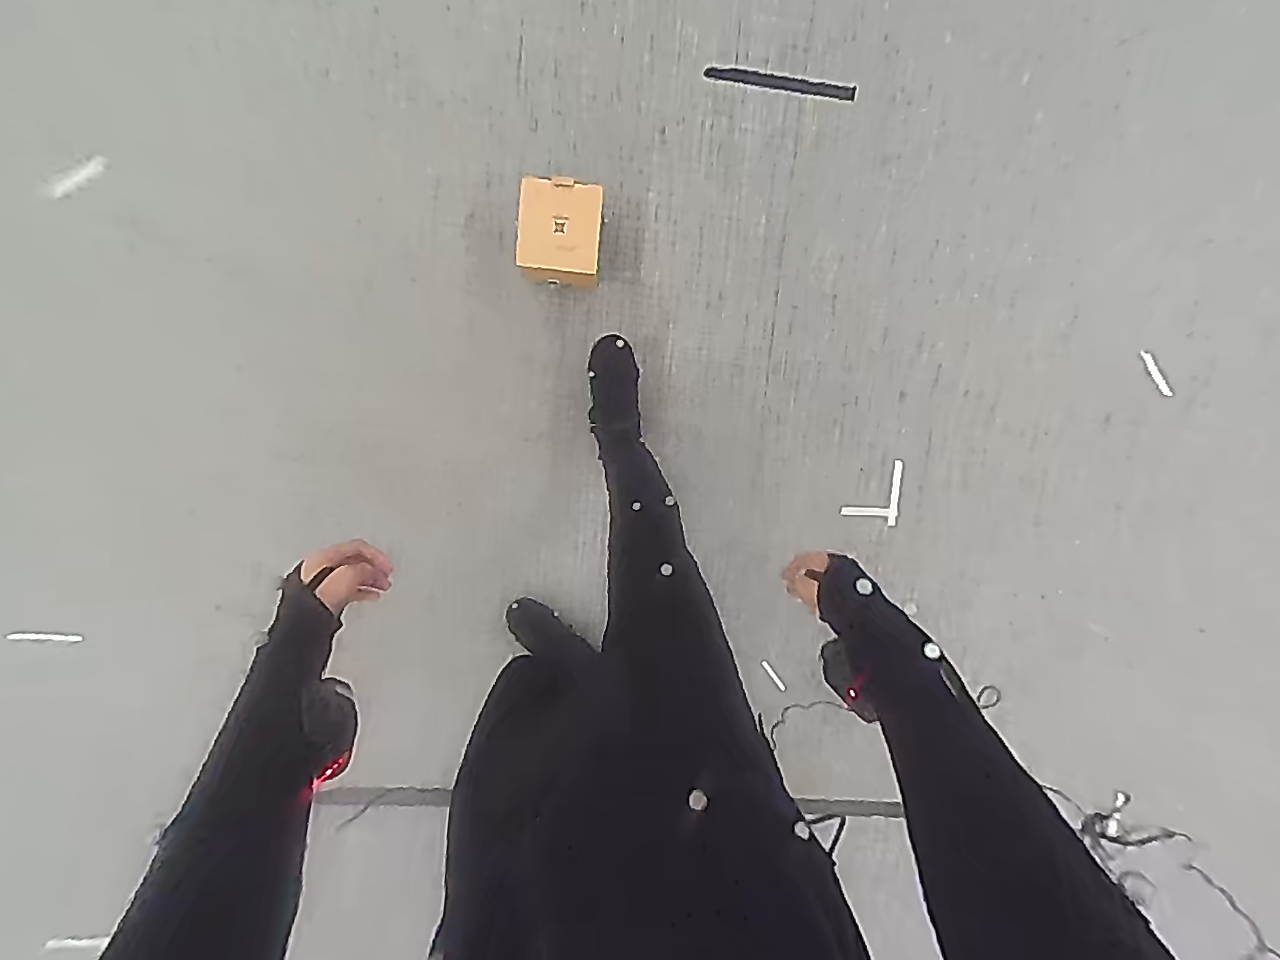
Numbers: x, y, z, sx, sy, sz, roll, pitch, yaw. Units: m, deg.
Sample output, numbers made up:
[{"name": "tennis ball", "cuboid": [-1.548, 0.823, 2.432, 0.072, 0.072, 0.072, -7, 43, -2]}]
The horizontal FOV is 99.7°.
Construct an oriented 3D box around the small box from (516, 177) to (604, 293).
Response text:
[{"name": "small box", "cuboid": [-0.170, -0.522, 1.173, 0.168, 0.176, 0.179, 5, 97, -5]}]
